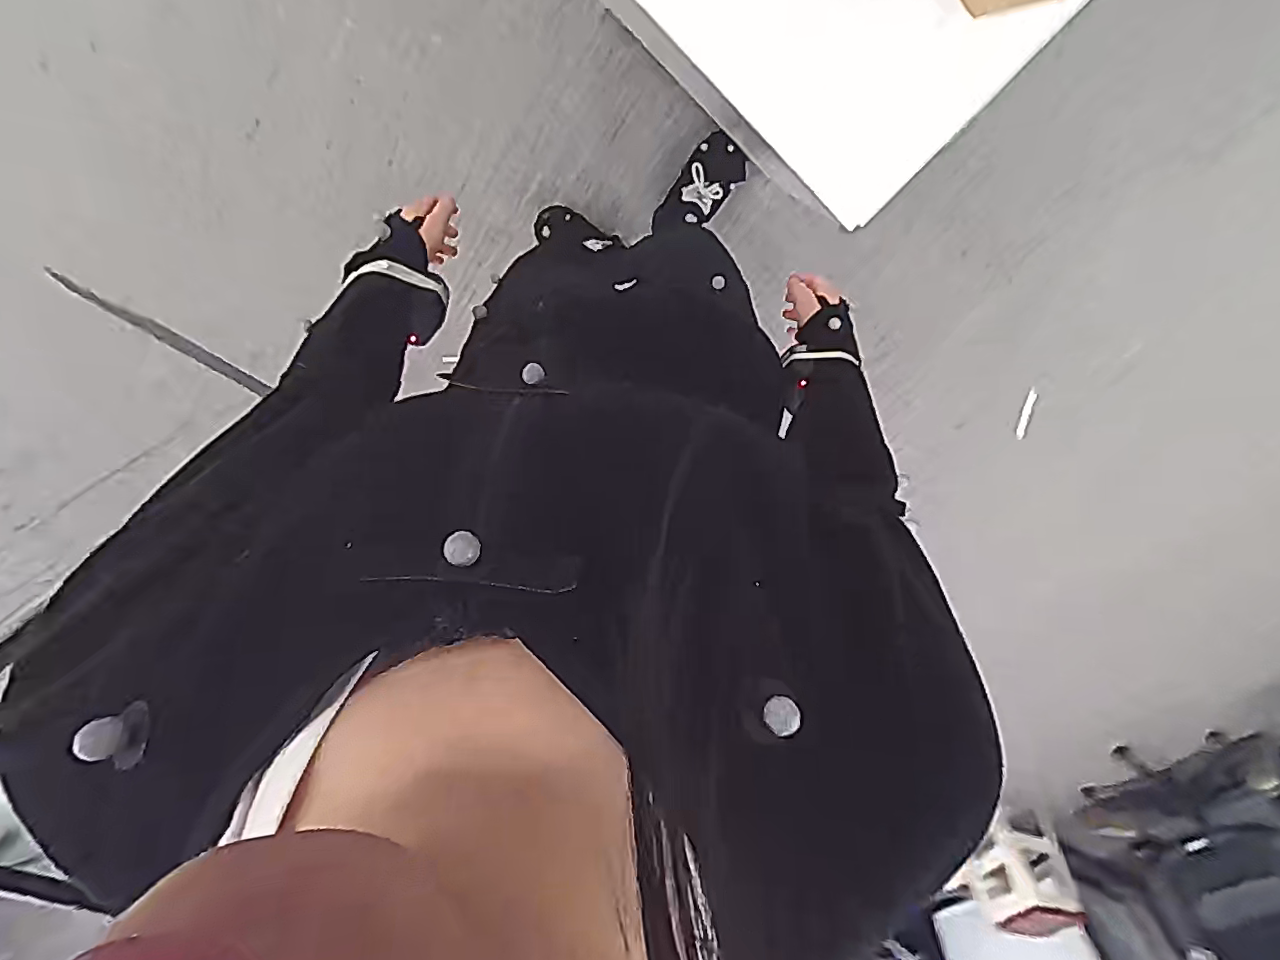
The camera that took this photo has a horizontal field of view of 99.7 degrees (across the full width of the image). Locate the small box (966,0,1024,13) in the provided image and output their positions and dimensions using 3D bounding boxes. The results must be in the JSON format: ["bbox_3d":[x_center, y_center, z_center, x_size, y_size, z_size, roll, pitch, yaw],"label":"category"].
[{"bbox_3d":[0.368,-0.564,0.474,0.168,0.176,0.179,35,119,-20],"label":"small box"}]
